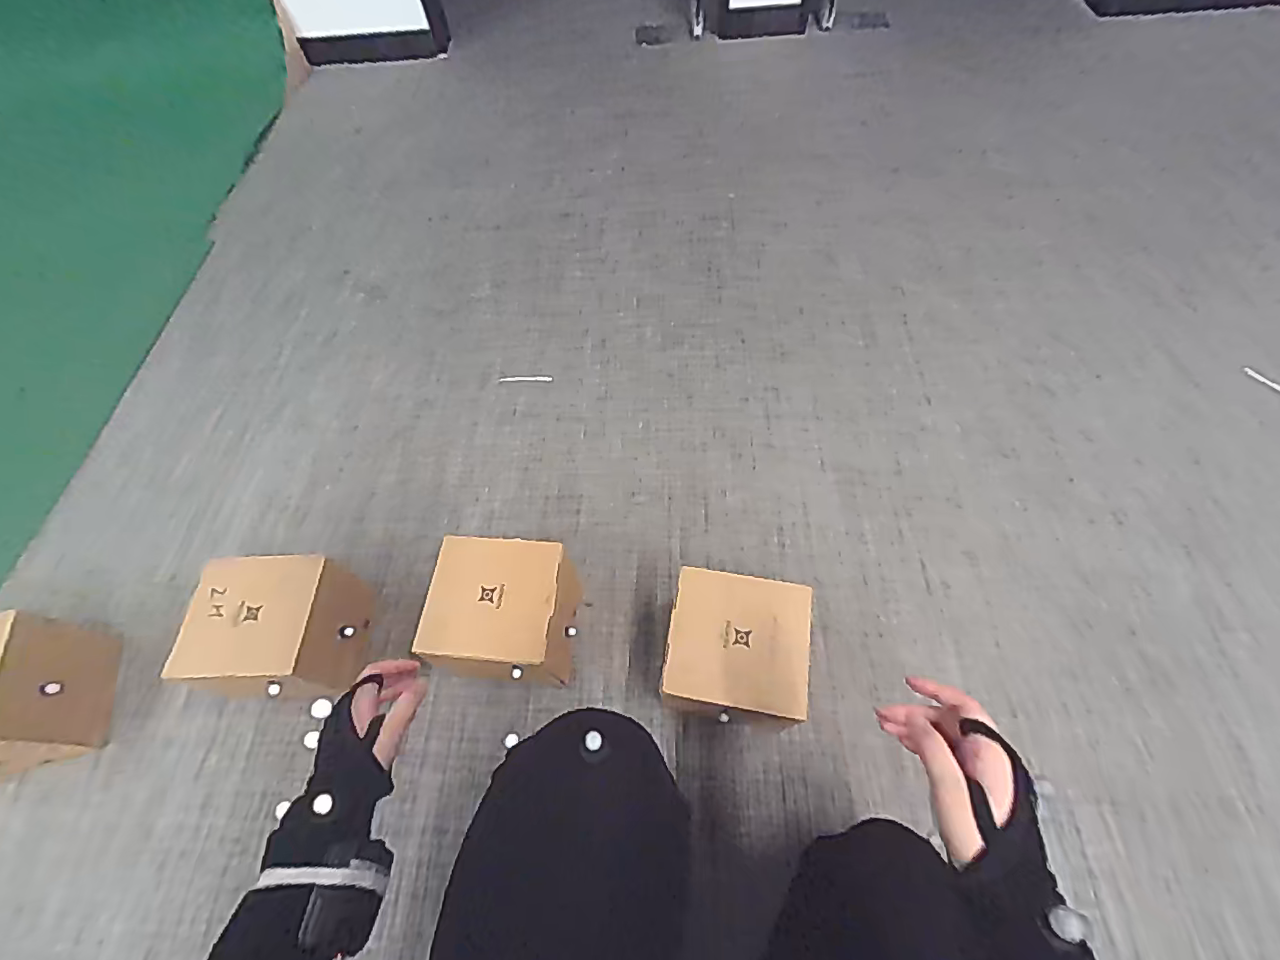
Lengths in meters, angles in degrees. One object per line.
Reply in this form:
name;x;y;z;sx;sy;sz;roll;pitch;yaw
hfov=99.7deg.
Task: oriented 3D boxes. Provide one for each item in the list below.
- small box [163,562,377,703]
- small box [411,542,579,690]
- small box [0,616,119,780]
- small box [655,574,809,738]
small box;-0.521;0.229;0.797;0.179;0.176;0.168;-2;59;2
small box;-0.197;0.204;0.792;0.179;0.176;0.168;4;60;5
small box;-0.909;0.320;0.773;0.168;0.176;0.179;-16;60;-5
small box;0.124;0.246;0.743;0.179;0.176;0.168;8;61;9
